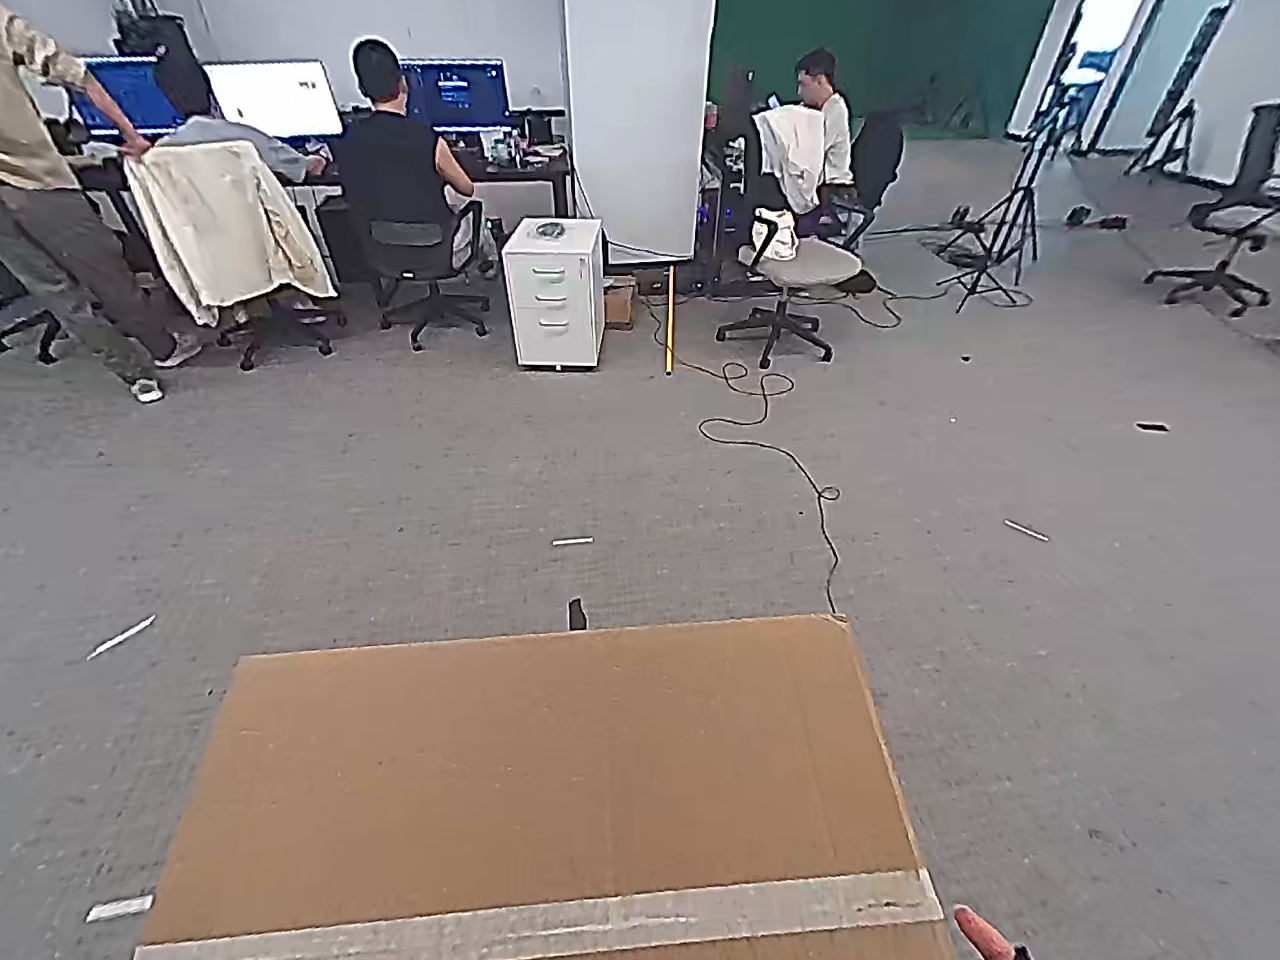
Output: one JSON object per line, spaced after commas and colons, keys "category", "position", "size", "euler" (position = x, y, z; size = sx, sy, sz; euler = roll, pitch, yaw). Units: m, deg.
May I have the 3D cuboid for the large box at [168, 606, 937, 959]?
{"category": "large box", "position": [-0.048, 0.315, 0.413], "size": [0.408, 0.320, 0.320], "euler": [-3, 55, -2]}
